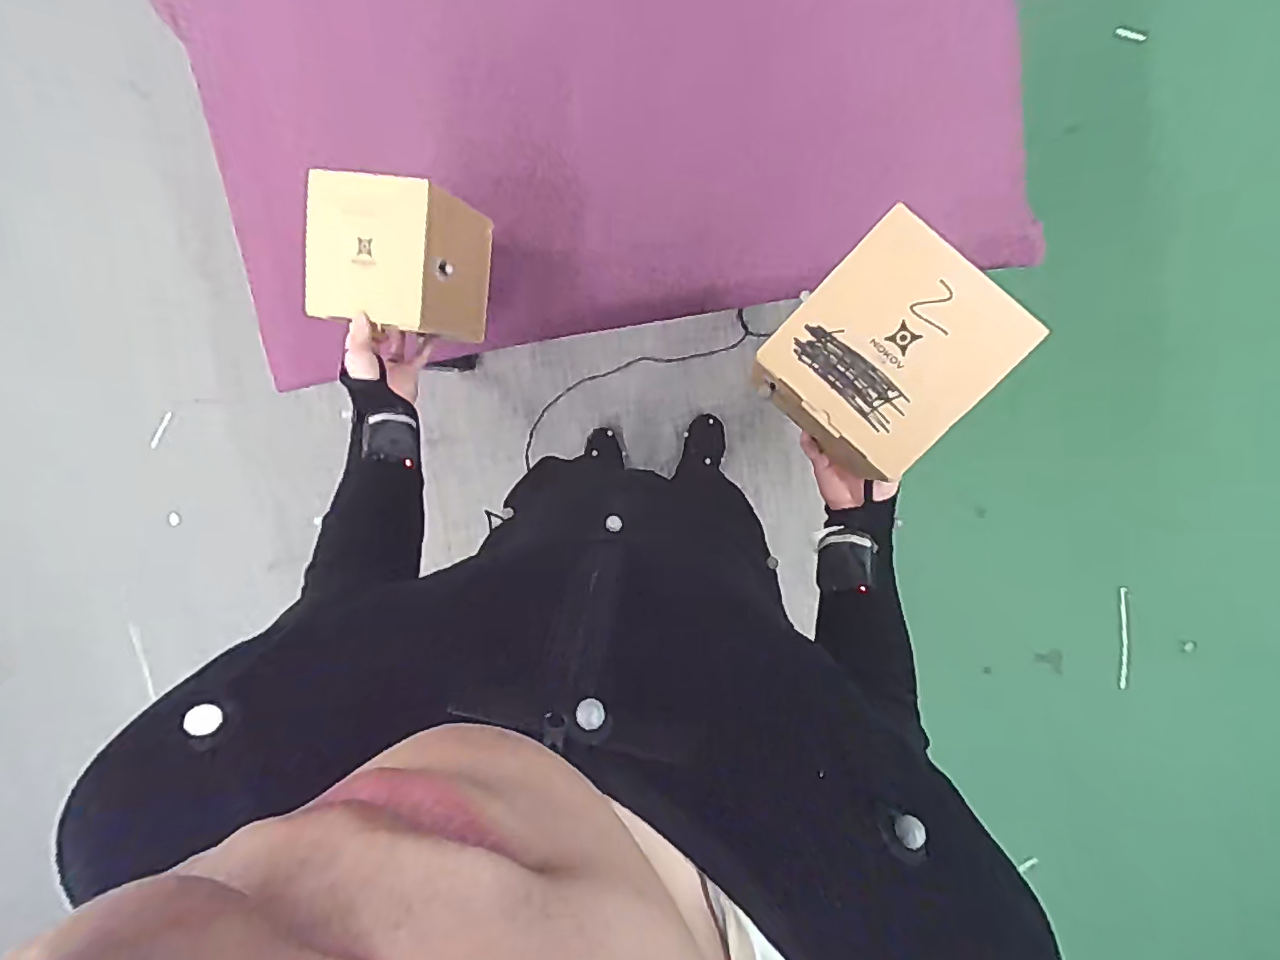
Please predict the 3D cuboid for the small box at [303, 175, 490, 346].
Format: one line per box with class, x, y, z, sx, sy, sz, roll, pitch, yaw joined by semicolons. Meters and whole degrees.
small box;-0.321;-0.285;0.738;0.168;0.176;0.179;11;100;10
